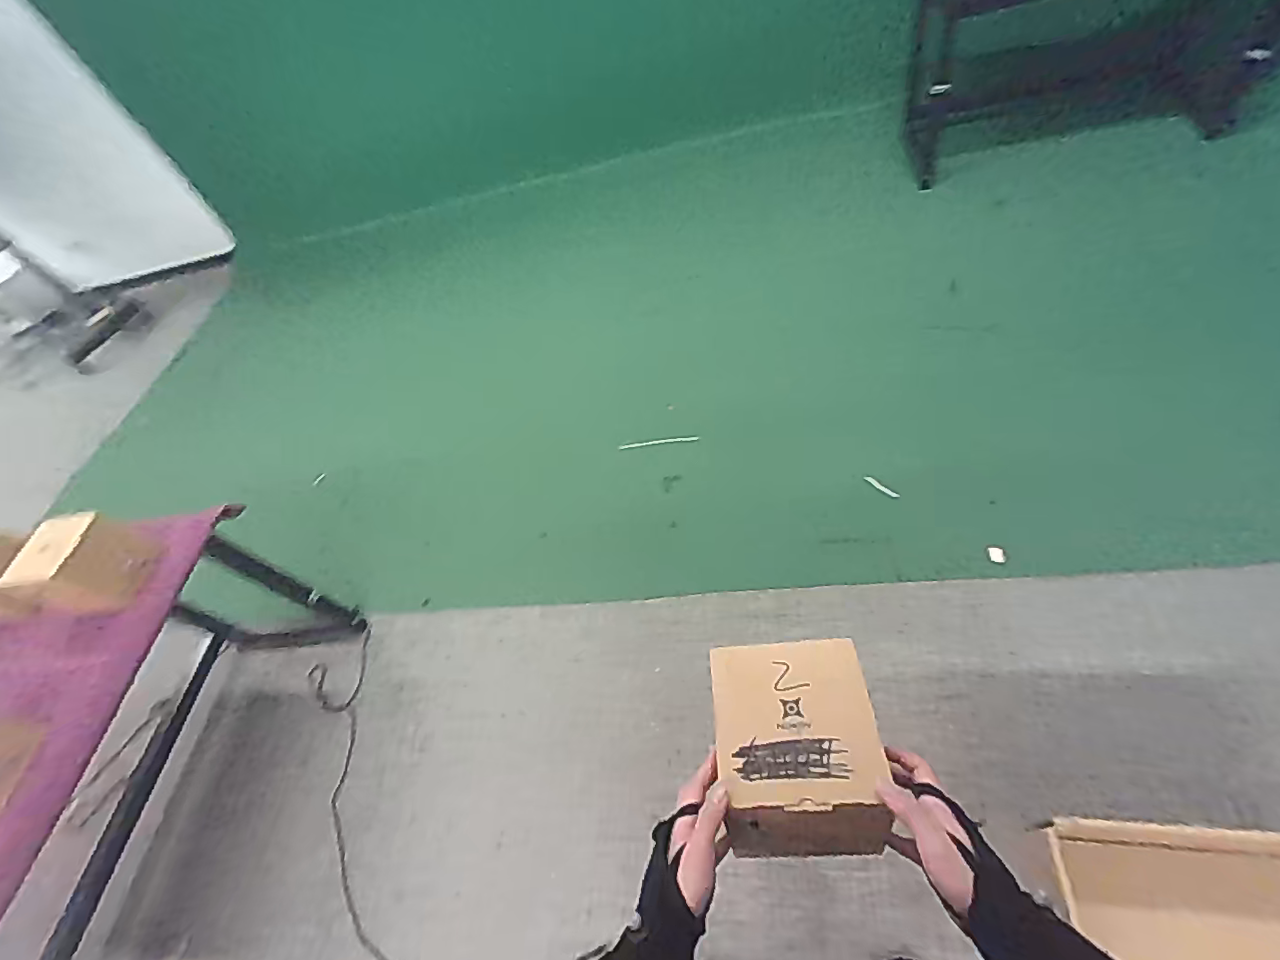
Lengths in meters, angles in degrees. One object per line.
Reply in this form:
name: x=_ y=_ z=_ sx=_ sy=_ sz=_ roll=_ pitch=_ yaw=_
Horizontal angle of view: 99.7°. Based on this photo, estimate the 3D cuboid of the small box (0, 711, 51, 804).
small box: x=-1.330 y=0.539 z=1.039 sx=0.179 sy=0.176 sz=0.168 roll=-9 pitch=53 yaw=11

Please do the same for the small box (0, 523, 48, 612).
small box: x=-1.604 y=0.222 z=1.351 sx=0.179 sy=0.176 sz=0.168 roll=-4 pitch=54 yaw=11

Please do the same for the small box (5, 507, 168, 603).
small box: x=-1.298 y=0.184 z=1.282 sx=0.179 sy=0.176 sz=0.168 roll=-7 pitch=55 yaw=13
